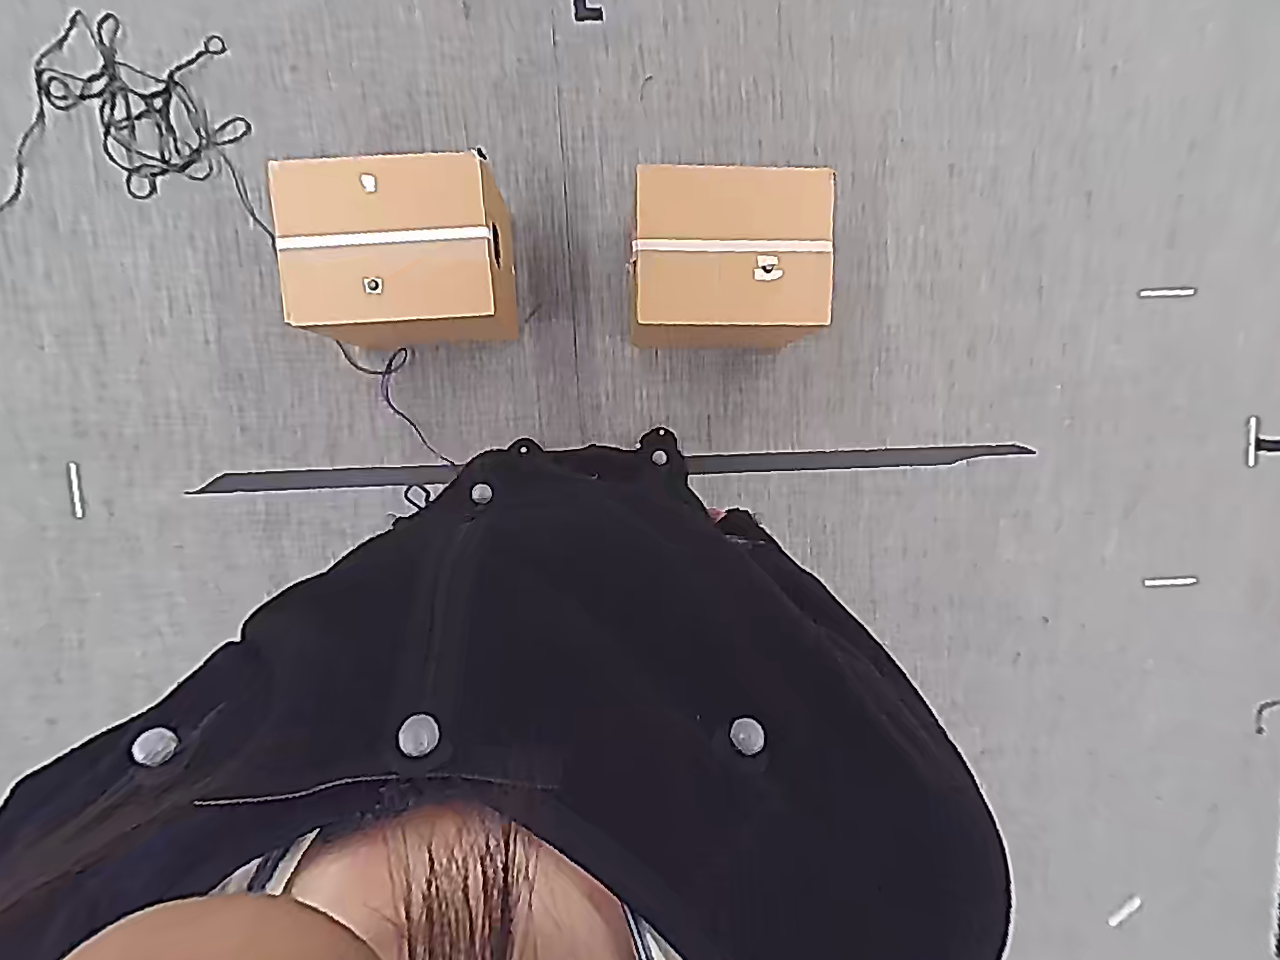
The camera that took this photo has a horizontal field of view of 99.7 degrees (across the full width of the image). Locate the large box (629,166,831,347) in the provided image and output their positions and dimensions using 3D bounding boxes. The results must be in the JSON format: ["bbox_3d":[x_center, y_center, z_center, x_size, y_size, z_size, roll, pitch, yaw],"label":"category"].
[{"bbox_3d":[0.184,-0.490,1.254,0.408,0.320,0.320,0,96,-4],"label":"large box"}]
